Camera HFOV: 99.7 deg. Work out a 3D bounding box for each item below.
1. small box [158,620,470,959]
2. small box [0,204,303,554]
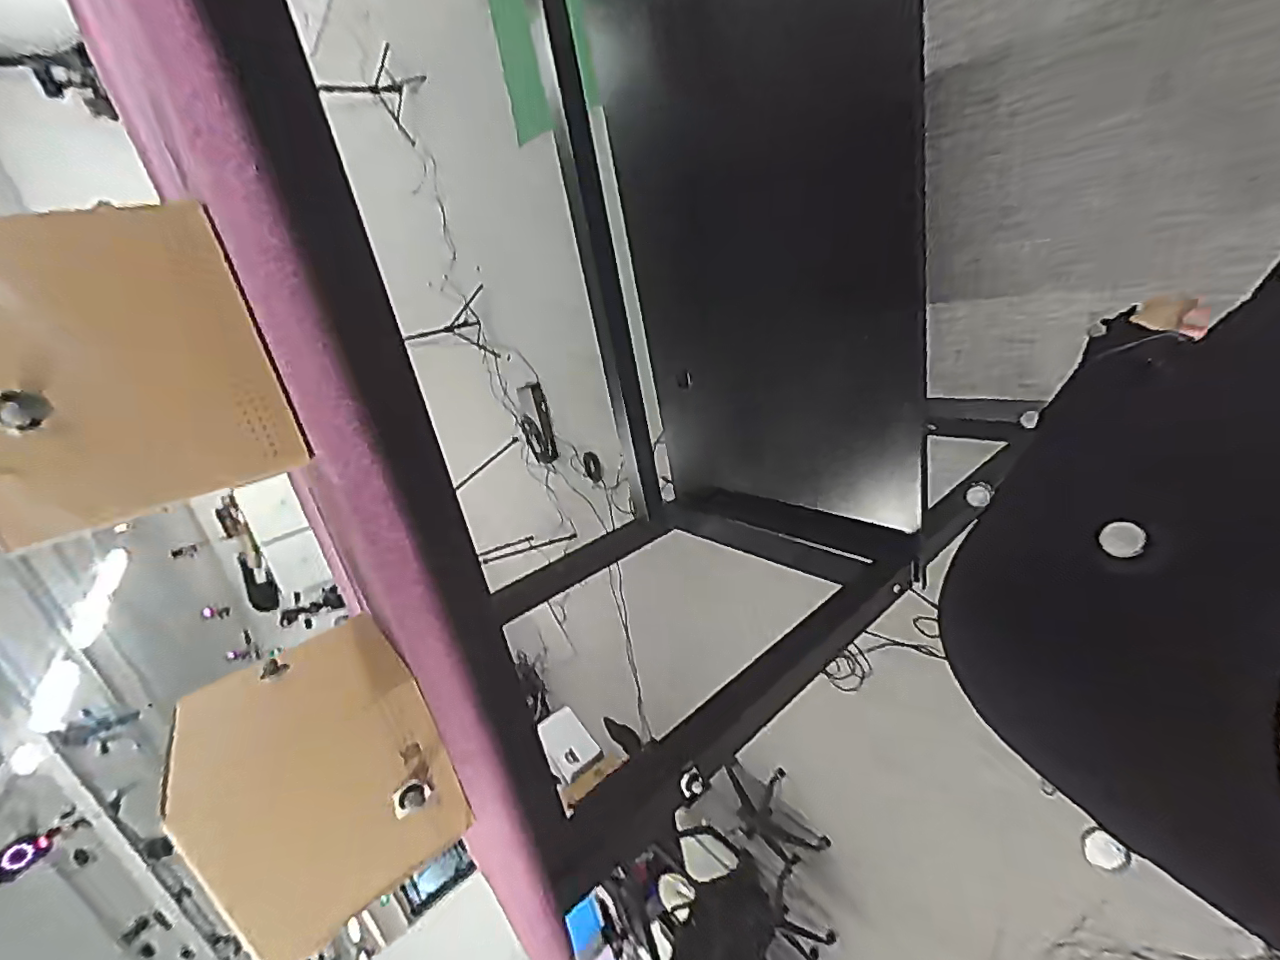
[{"bbox_3d":[-0.274,0.248,0.475,0.179,0.176,0.168,8,119,51],"label":"small box"},{"bbox_3d":[-0.365,-0.079,0.383,0.168,0.176,0.179,17,124,51],"label":"small box"}]
